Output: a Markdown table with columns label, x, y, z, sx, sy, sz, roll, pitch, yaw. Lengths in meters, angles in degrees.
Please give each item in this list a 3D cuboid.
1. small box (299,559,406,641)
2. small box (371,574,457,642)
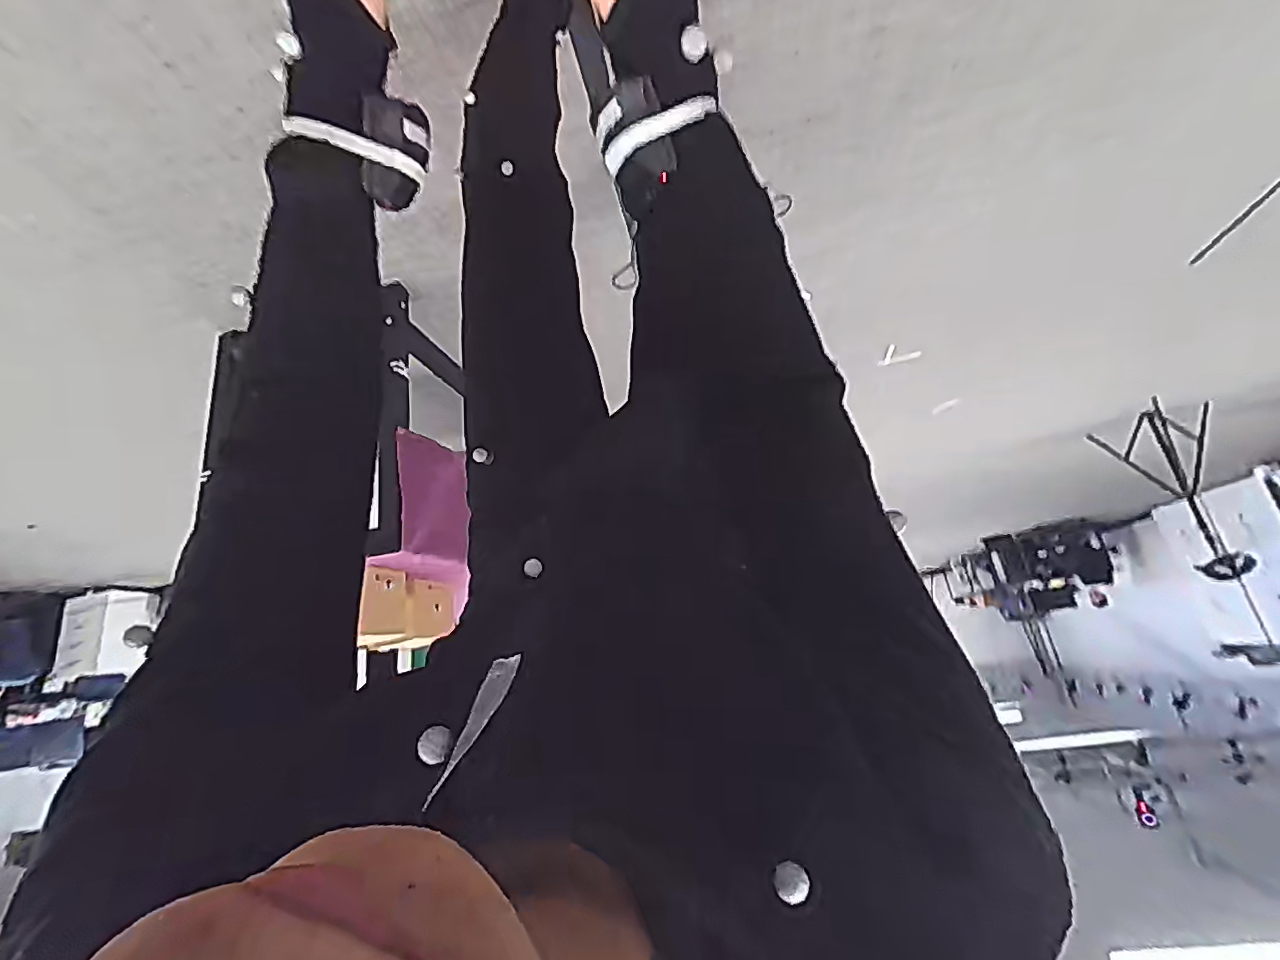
| label | x | y | z | sx | sy | sz | roll | pitch | yaw |
| --- | --- | --- | --- | --- | --- | --- | --- | --- | --- |
| small box | -0.704 | 0.299 | 1.339 | 0.179 | 0.176 | 0.168 | -12 | 163 | 13 |
| small box | -0.669 | 0.377 | 1.598 | 0.179 | 0.176 | 0.168 | -14 | 161 | 18 |
